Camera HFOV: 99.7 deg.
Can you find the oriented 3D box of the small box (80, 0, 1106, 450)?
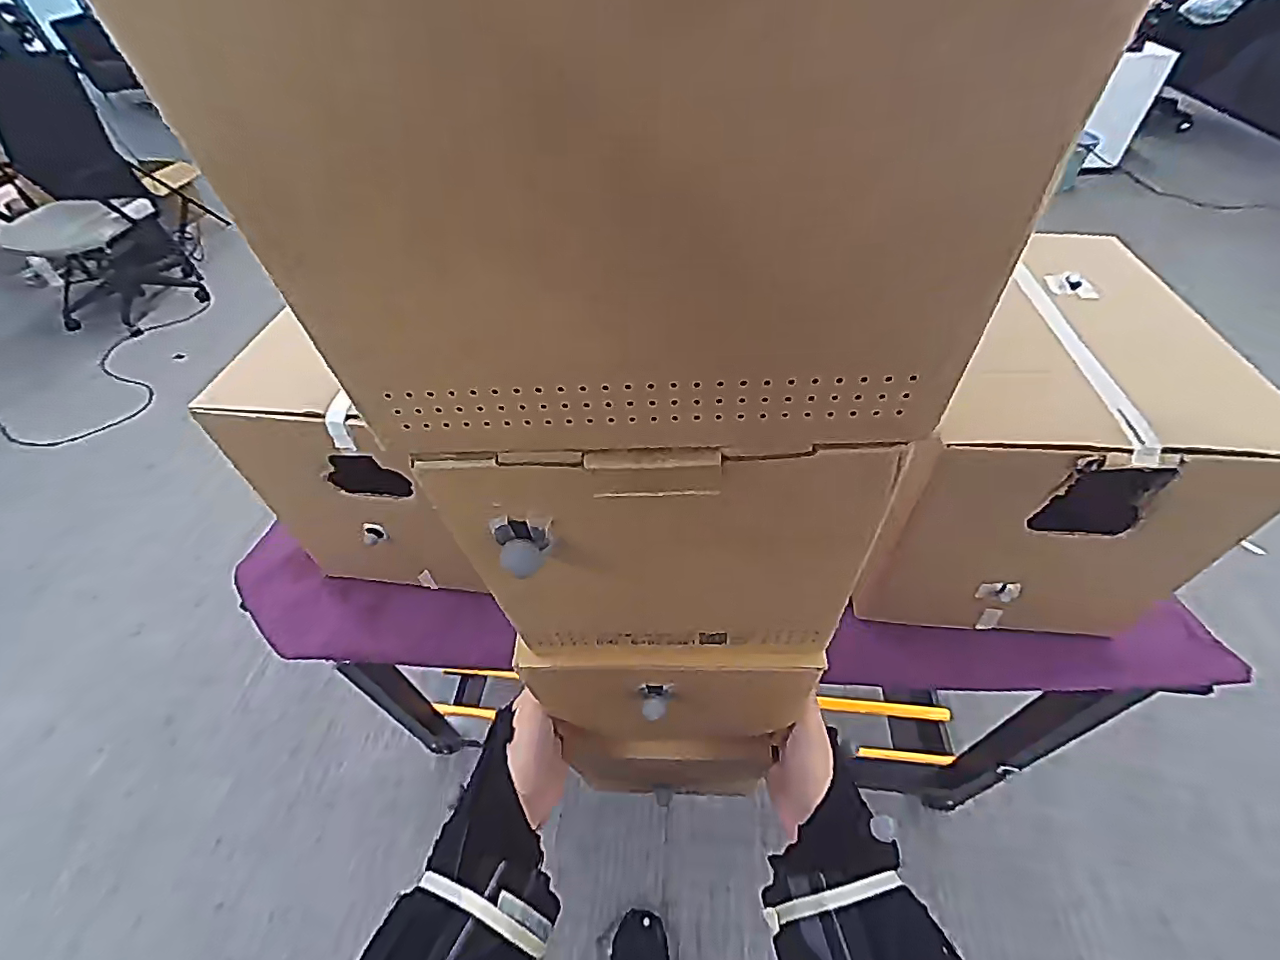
[{"bbox_3d":[-0.002,-0.122,0.159,0.179,0.176,0.168,-2,50,6],"label":"small box"}]

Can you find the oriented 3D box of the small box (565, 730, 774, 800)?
[{"bbox_3d":[0.032,0.198,0.531,0.168,0.176,0.179,-1,52,6],"label":"small box"}]

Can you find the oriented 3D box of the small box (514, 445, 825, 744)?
[{"bbox_3d":[0.024,0.091,0.409,0.179,0.176,0.168,-2,52,5],"label":"small box"}]

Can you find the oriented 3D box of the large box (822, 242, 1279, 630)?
[{"bbox_3d":[0.434,-0.062,0.691,0.320,0.320,0.408,3,47,5],"label":"large box"}]
